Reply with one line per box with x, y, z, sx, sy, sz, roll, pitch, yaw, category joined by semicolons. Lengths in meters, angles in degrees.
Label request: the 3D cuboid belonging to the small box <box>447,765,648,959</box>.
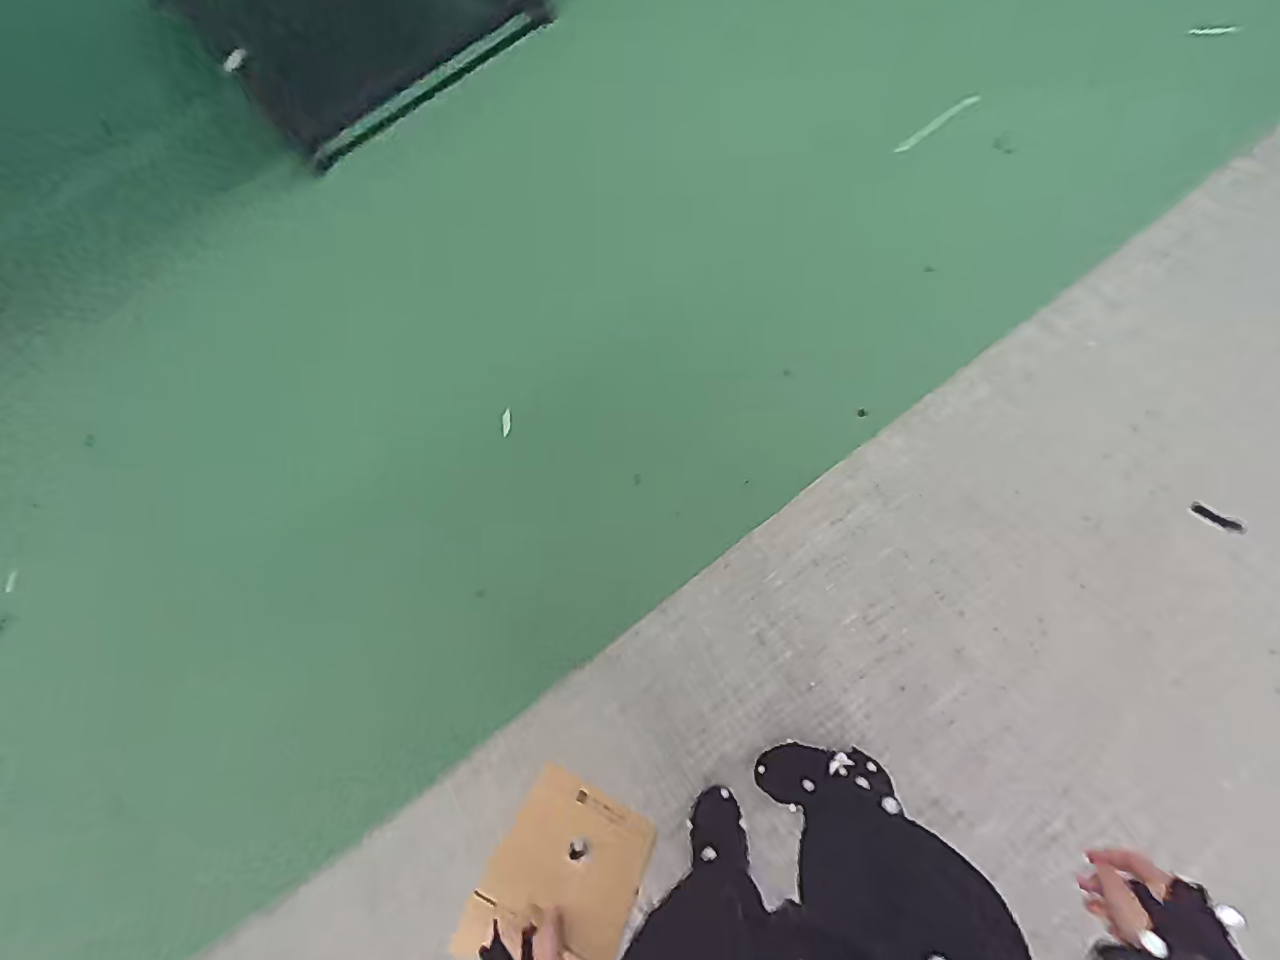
-0.106;0.501;0.673;0.168;0.176;0.179;29;120;7;small box
